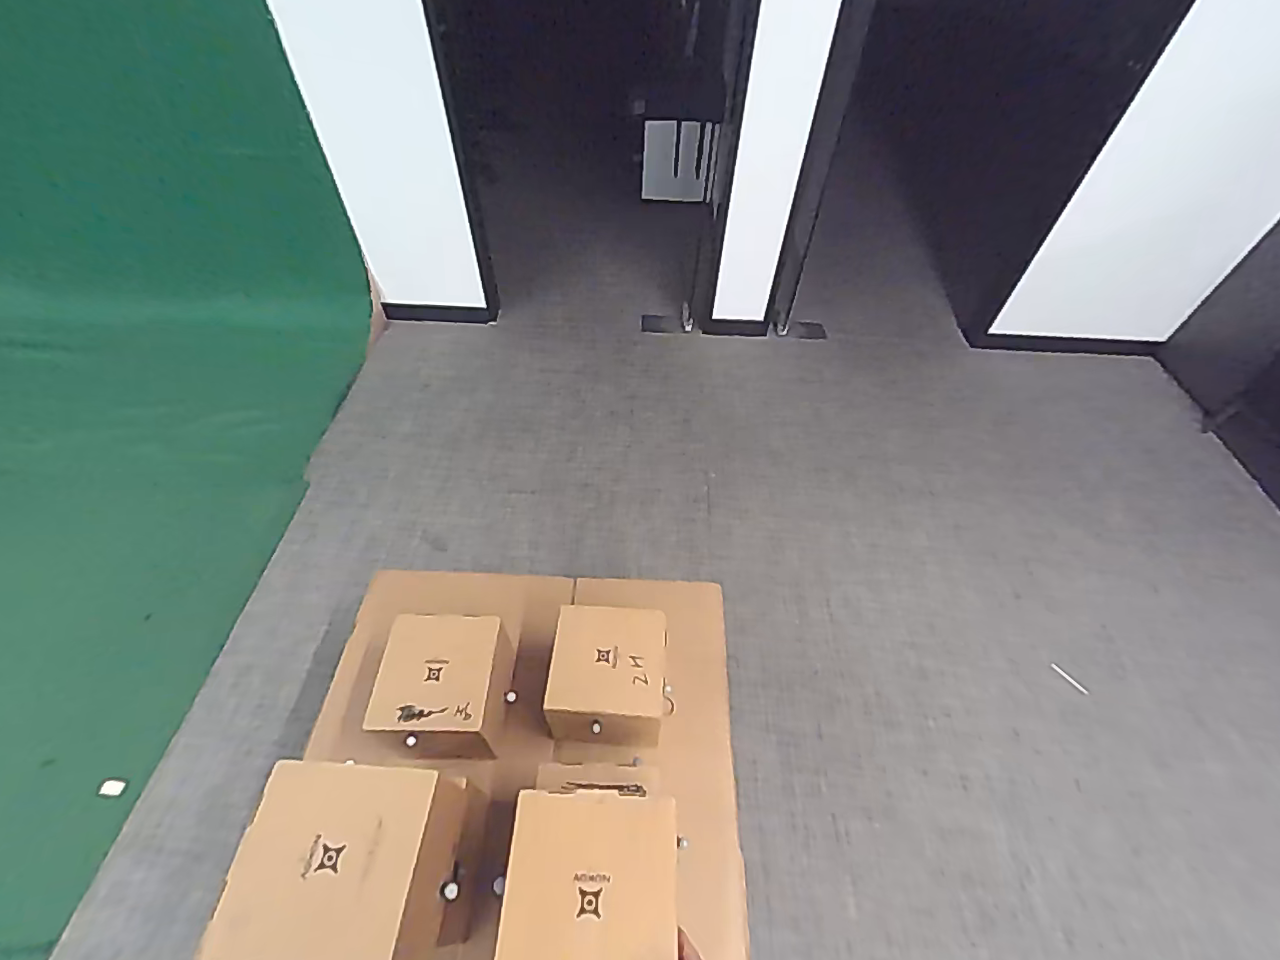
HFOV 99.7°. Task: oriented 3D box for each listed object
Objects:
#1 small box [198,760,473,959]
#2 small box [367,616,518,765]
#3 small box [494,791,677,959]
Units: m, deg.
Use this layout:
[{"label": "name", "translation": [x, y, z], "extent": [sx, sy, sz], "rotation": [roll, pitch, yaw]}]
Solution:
[{"label": "small box", "translation": [-0.301, 0.418, 0.585], "extent": [0.179, 0.176, 0.168], "rotation": [4, 52, 1]}, {"label": "small box", "translation": [-0.298, 0.336, 0.862], "extent": [0.168, 0.176, 0.179], "rotation": [0, 49, 1]}, {"label": "small box", "translation": [-0.045, 0.444, 0.567], "extent": [0.168, 0.176, 0.179], "rotation": [0, 48, 1]}]
